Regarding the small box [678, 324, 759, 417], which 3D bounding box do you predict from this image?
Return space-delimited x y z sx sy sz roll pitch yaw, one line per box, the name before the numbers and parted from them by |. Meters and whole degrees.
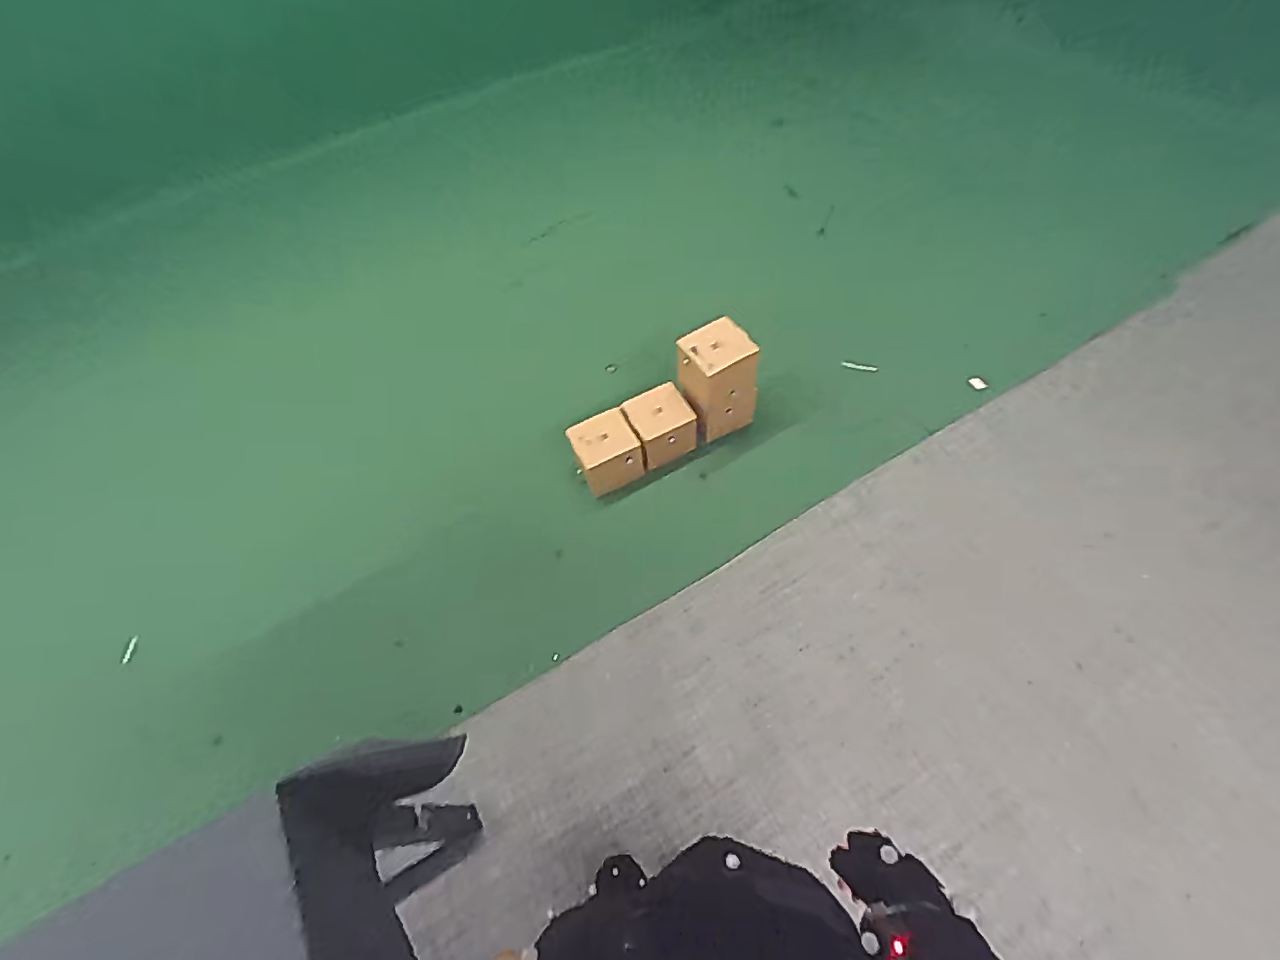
small box | 0.224 -0.321 1.596 0.179 0.176 0.168 -28 60 -13
